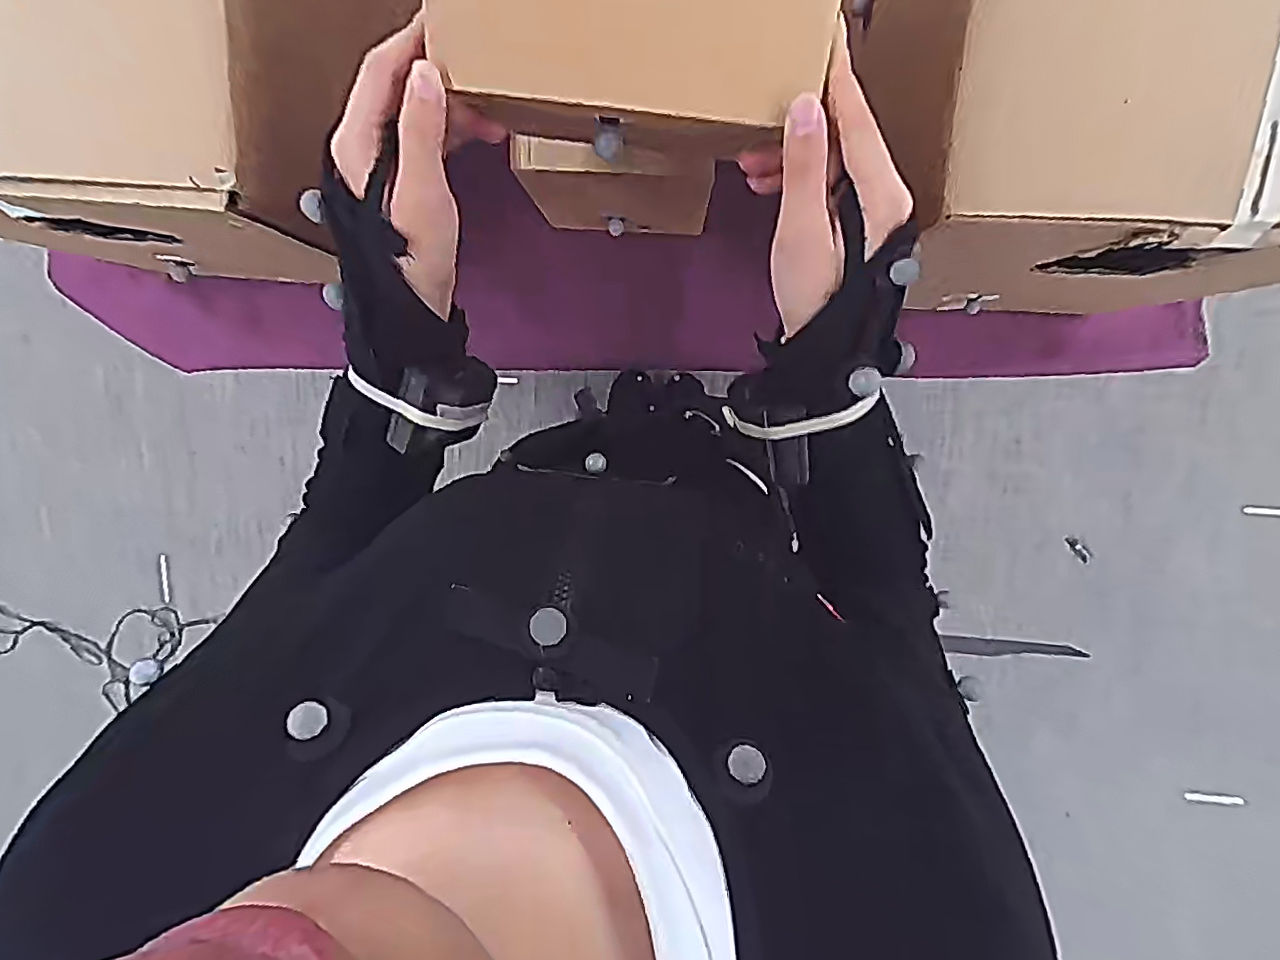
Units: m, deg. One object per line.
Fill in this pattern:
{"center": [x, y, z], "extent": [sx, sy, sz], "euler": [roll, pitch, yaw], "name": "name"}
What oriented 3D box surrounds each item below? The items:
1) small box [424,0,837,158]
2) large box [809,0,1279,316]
{"center": [0.001, -0.274, 0.280], "extent": [0.179, 0.176, 0.168], "euler": [6, 116, -1], "name": "small box"}
{"center": [0.329, -0.351, 0.409], "extent": [0.320, 0.320, 0.408], "euler": [3, 99, 2], "name": "large box"}
